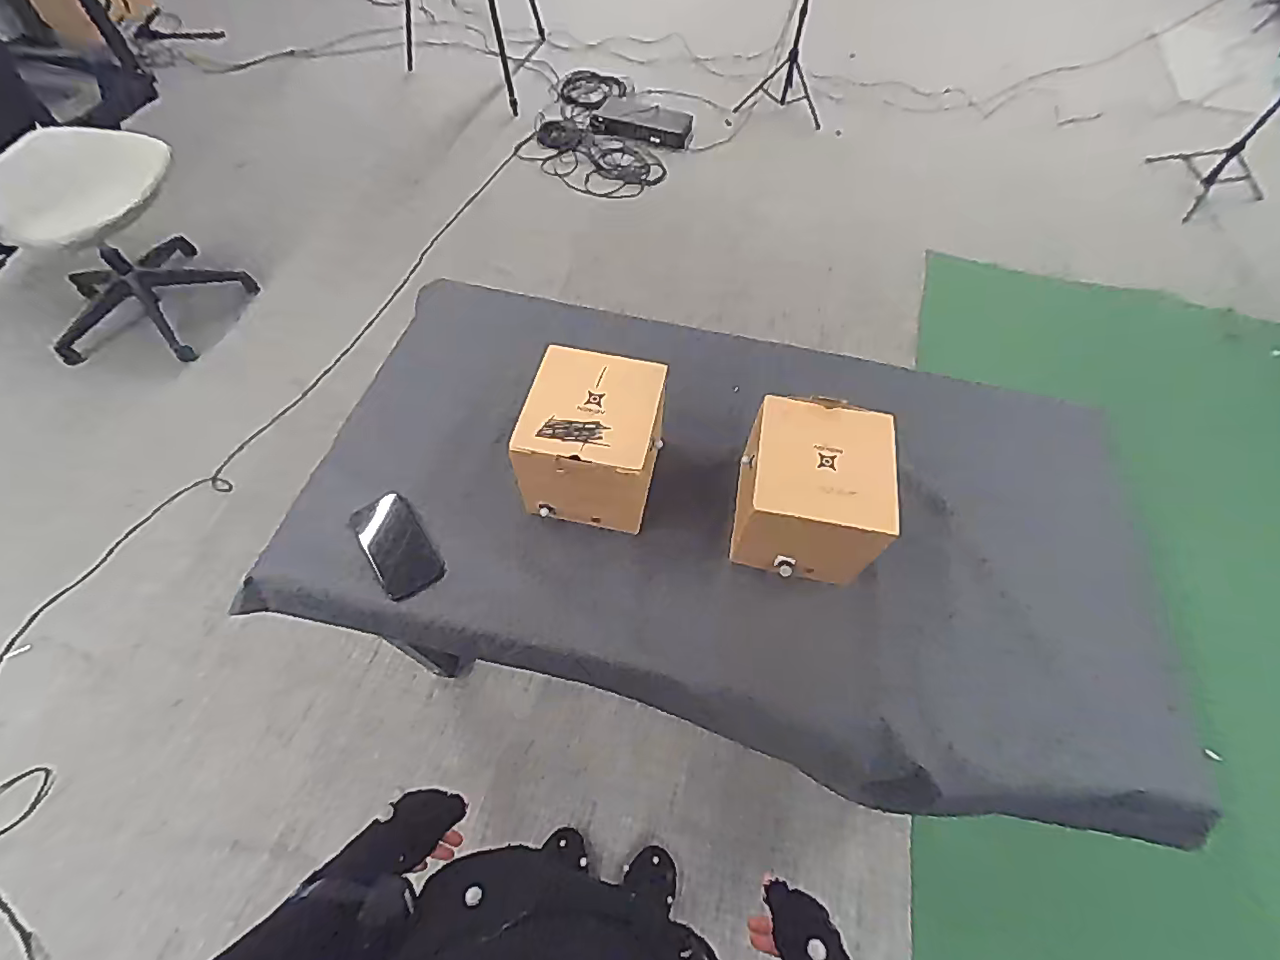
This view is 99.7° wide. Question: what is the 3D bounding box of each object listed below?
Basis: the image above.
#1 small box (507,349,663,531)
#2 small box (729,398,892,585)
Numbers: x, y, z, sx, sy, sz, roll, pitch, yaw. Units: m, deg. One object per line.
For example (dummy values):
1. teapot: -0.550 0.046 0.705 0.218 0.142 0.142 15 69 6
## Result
1. small box: -0.067 -0.049 0.753 0.168 0.176 0.179 11 58 4
2. small box: 0.219 0.020 0.727 0.168 0.176 0.179 9 60 5
